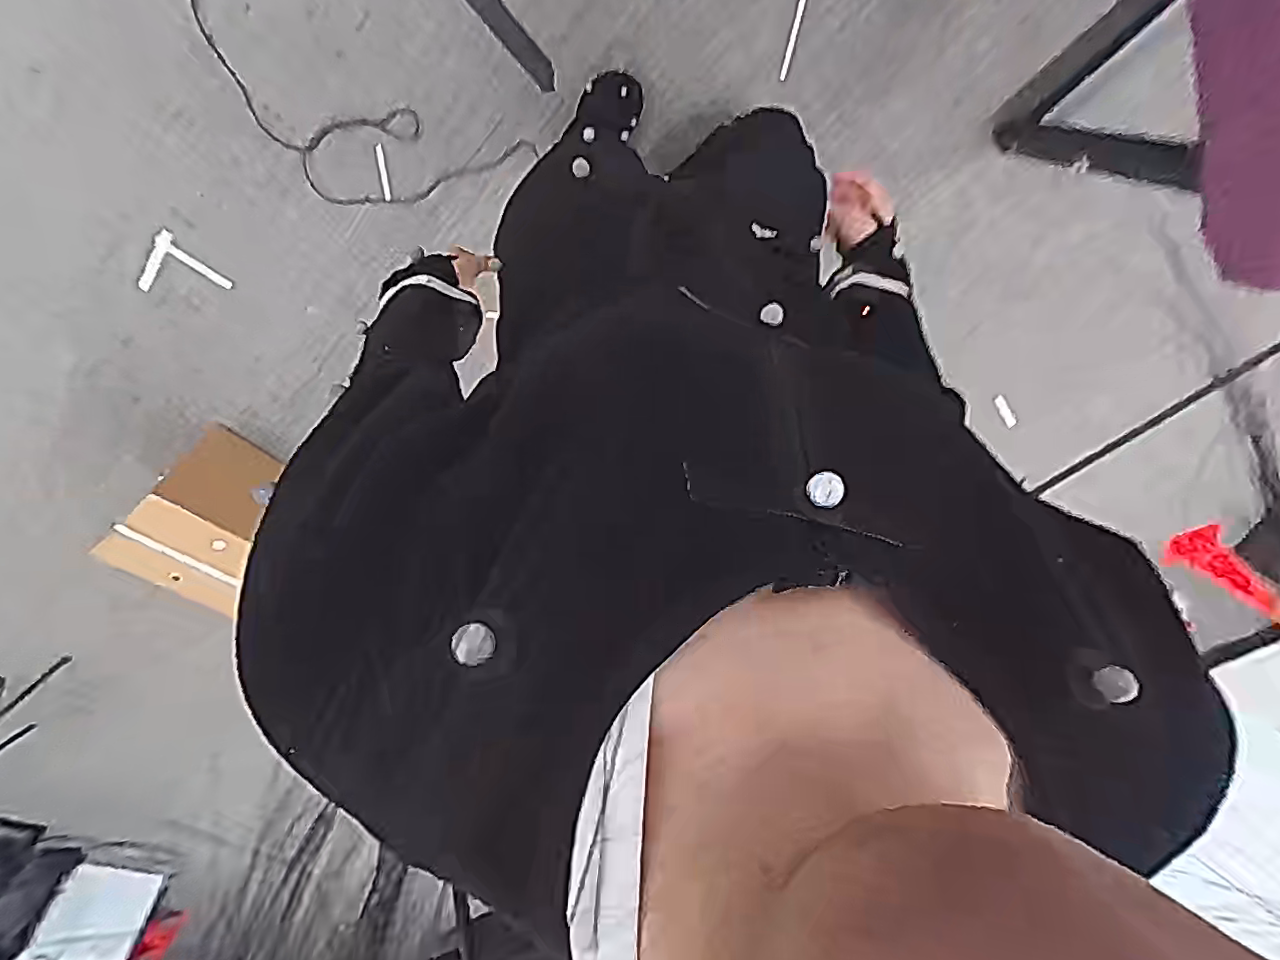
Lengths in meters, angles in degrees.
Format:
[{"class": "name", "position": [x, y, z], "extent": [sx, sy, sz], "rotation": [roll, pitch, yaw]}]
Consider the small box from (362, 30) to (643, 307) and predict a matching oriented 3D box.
[{"class": "small box", "position": [-0.124, -0.302, 0.530], "extent": [0.179, 0.168, 0.176], "rotation": [-2, 137, 29]}]
